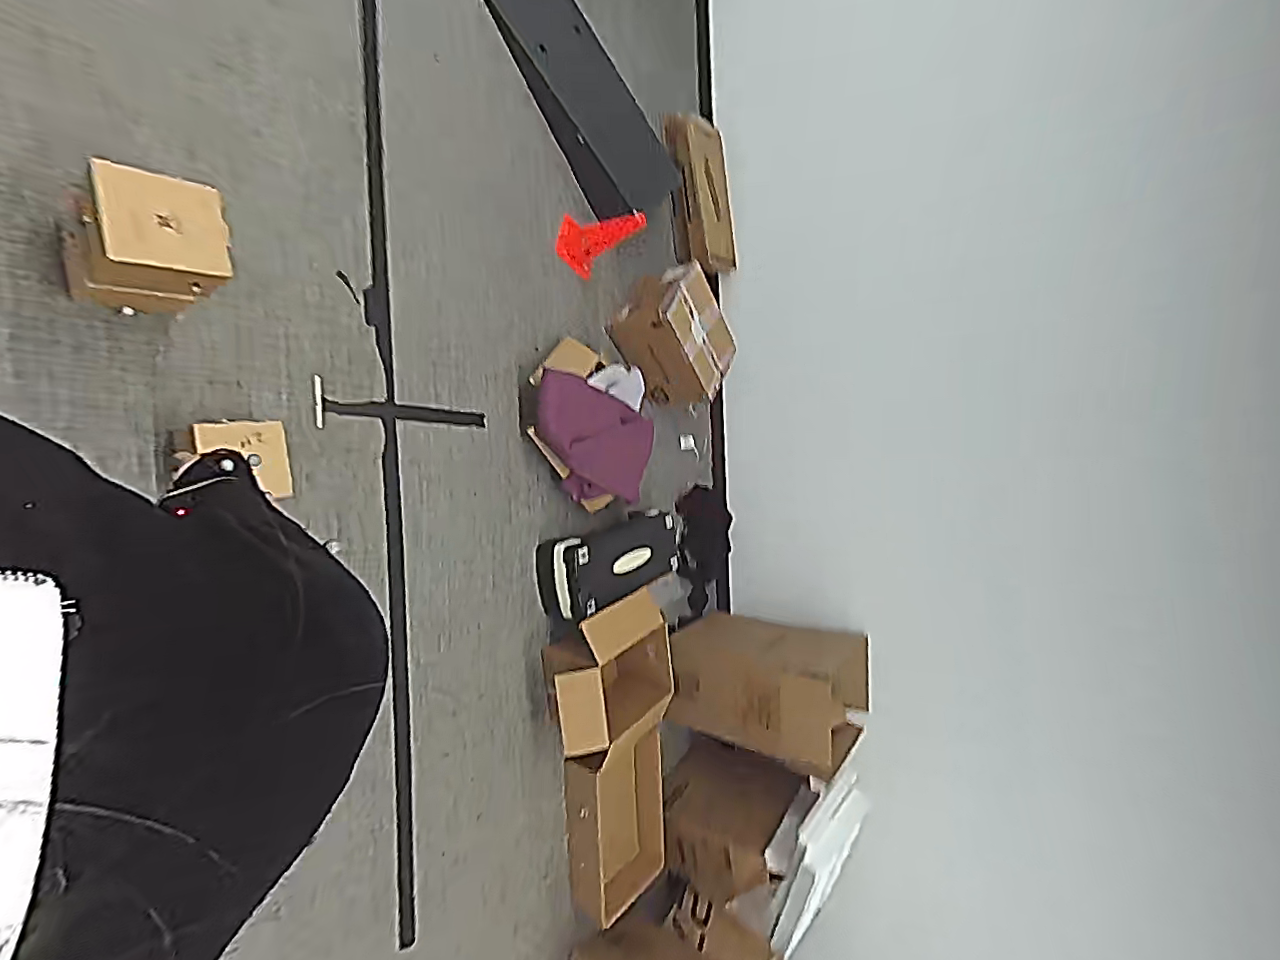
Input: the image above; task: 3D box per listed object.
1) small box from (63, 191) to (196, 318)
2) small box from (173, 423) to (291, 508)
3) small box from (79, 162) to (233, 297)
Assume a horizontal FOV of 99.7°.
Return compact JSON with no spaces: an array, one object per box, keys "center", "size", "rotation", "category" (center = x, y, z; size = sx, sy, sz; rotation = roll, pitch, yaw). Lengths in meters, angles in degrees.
[{"center":[-1.034,-0.443,1.095],"size":[0.168,0.176,0.179],"rotation":[-6,94,-52],"category":"small box"},{"center":[-0.924,-0.035,1.224],"size":[0.168,0.176,0.179],"rotation":[-12,98,-52],"category":"small box"},{"center":[-0.898,-0.448,1.005],"size":[0.179,0.176,0.168],"rotation":[-12,96,-51],"category":"small box"}]
